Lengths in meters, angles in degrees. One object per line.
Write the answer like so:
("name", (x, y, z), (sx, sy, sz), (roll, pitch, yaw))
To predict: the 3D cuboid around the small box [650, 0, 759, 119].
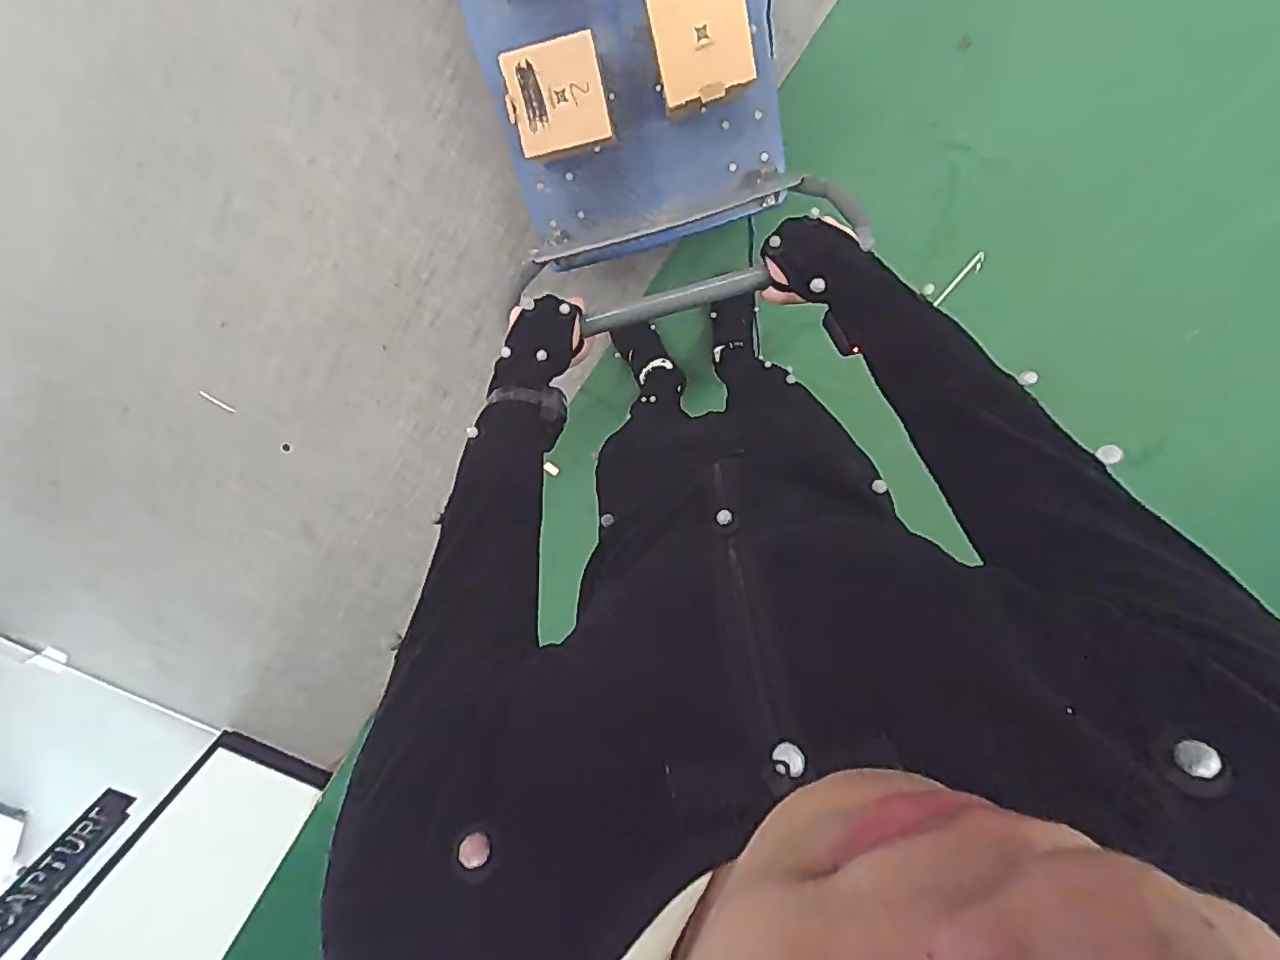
("small box", (0.116, -0.809, 1.015), (0.168, 0.176, 0.179), (-13, 117, 8))
